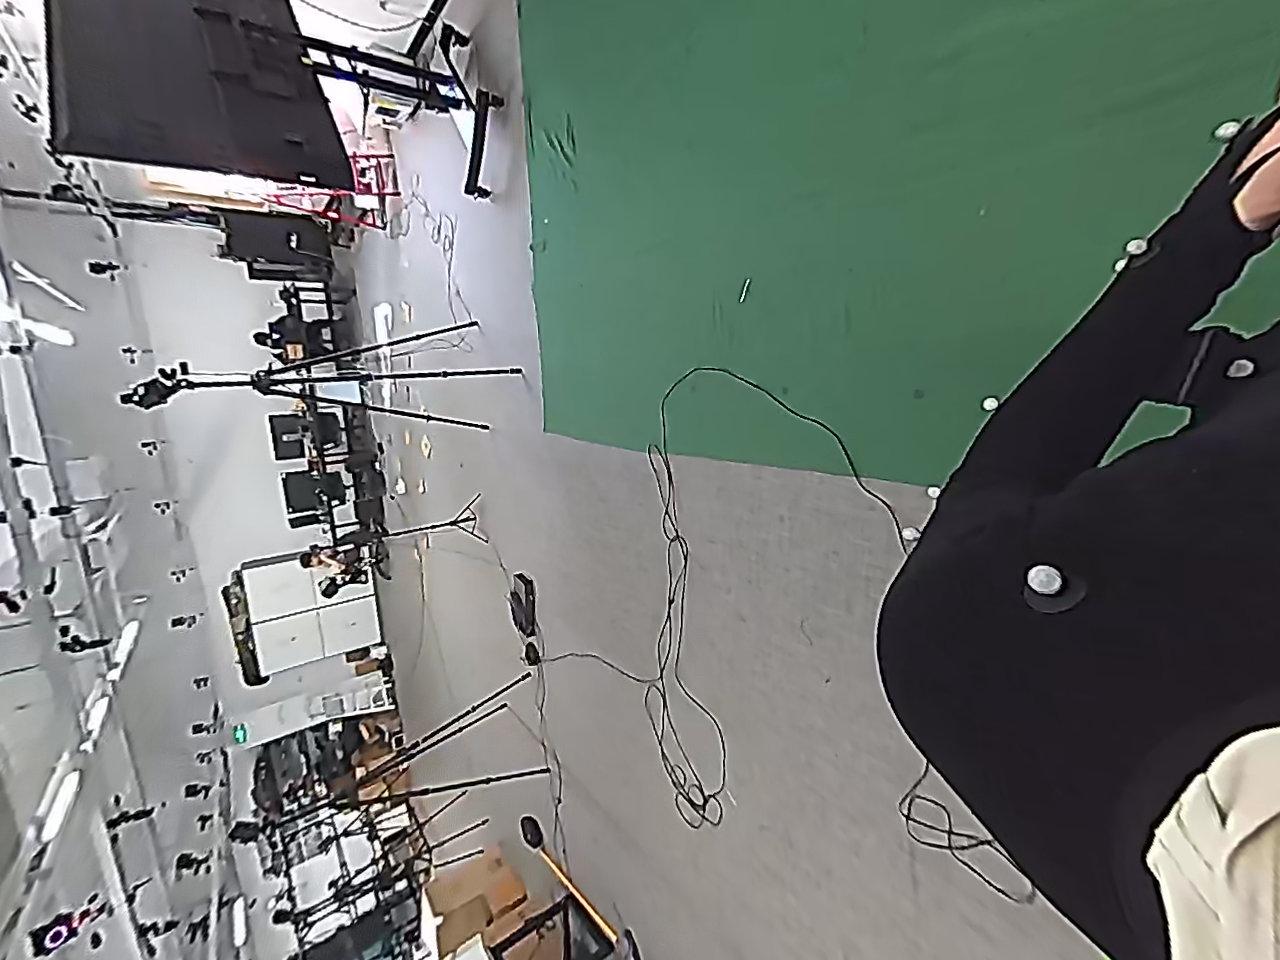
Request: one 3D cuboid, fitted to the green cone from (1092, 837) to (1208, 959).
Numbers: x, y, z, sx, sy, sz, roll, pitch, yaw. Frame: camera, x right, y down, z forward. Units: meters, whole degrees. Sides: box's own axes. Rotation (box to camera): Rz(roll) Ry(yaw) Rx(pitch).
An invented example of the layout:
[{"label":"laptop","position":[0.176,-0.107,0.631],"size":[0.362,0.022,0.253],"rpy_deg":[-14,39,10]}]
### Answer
[{"label":"green cone","position":[1.123,1.050,1.244],"size":[0.202,0.368,0.200],"rpy_deg":[13,109,52]}]
